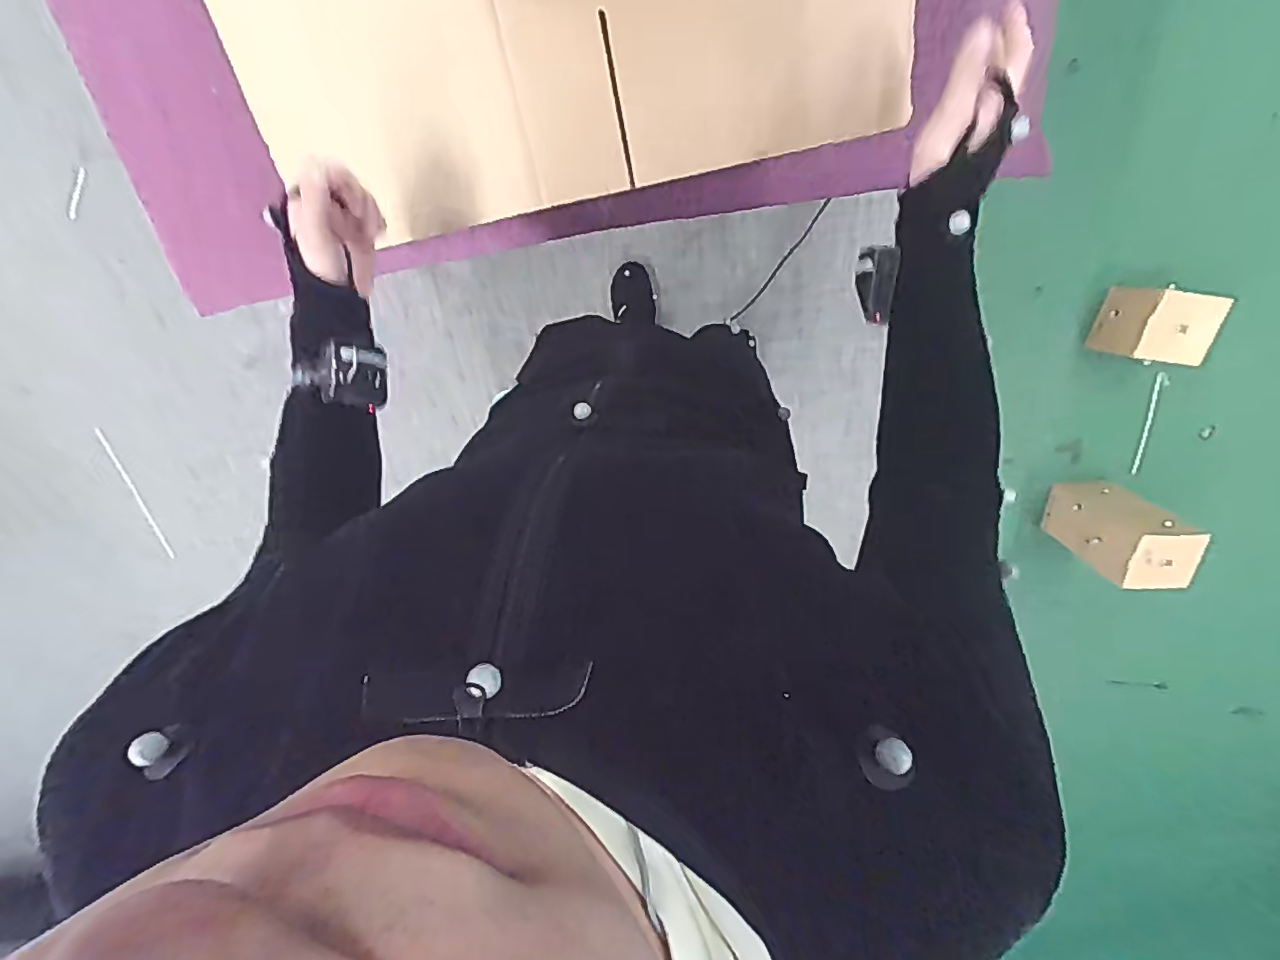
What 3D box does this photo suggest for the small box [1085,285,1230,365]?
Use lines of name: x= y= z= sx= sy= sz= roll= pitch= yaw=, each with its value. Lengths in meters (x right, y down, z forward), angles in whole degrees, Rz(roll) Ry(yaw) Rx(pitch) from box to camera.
small box: x=1.324 y=-0.406 z=1.400 sx=0.179 sy=0.176 sz=0.168 roll=7 pitch=114 yaw=-1

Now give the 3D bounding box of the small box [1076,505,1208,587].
small box: x=1.358 y=0.176 z=1.478 sx=0.179 sy=0.176 sz=0.168 roll=-1 pitch=114 yaw=2
